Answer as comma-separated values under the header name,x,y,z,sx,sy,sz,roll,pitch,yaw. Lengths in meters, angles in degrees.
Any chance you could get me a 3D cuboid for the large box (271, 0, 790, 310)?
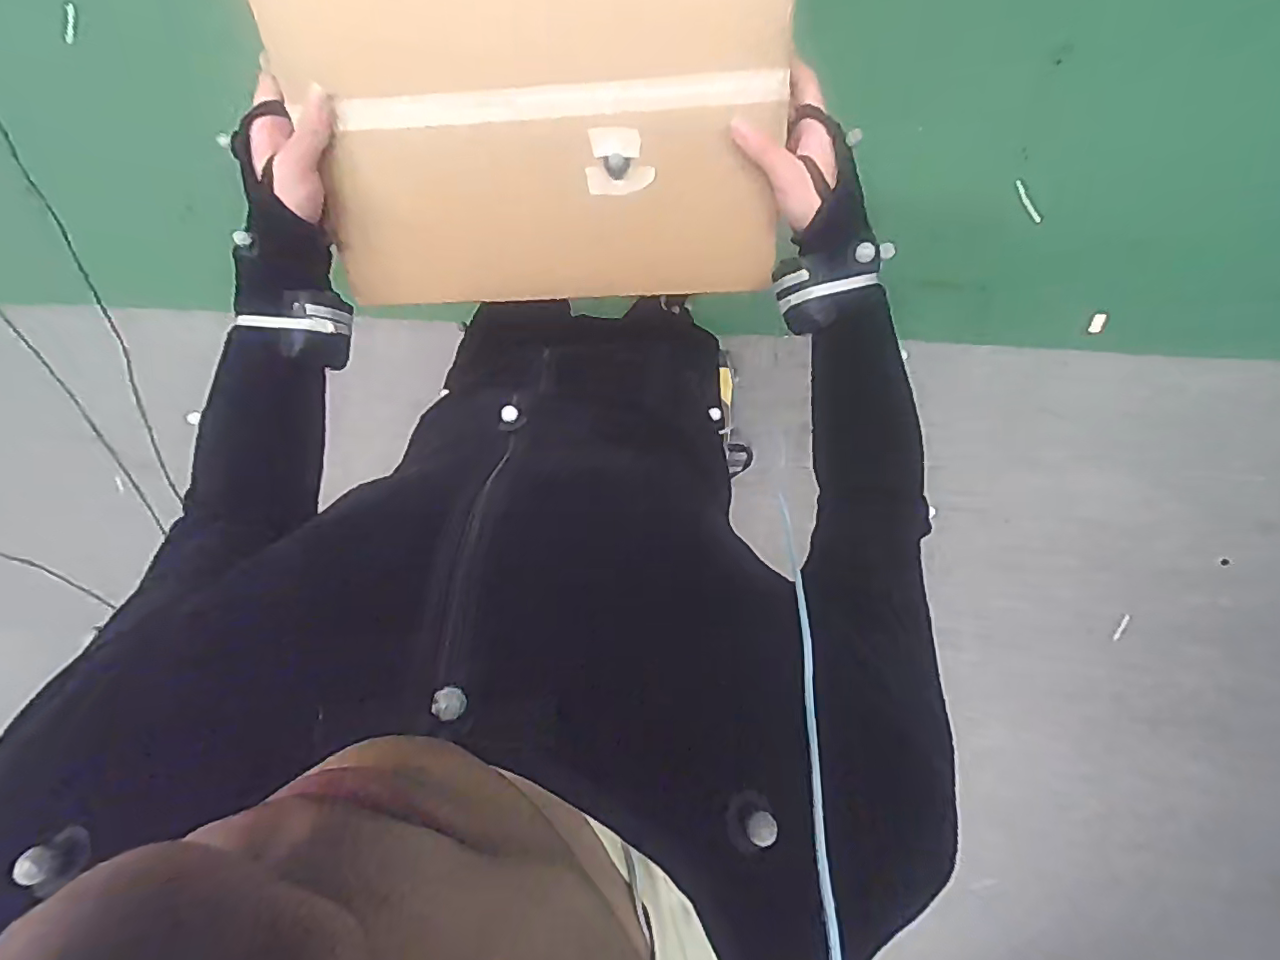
name,x,y,z,sx,sy,sz,roll,pitch,yaw
large box,-0.078,-0.388,0.572,0.408,0.320,0.320,-1,125,3
